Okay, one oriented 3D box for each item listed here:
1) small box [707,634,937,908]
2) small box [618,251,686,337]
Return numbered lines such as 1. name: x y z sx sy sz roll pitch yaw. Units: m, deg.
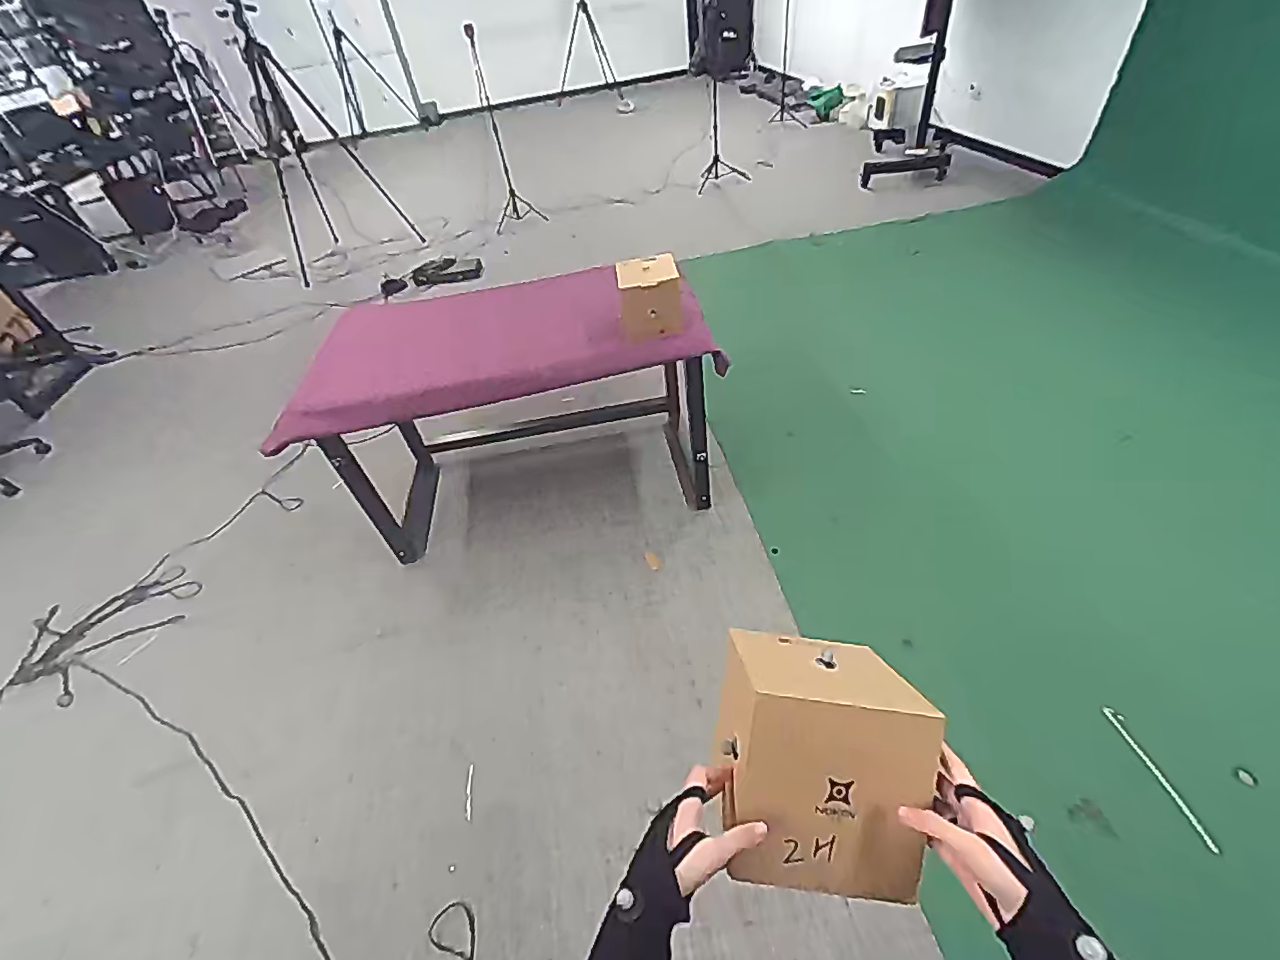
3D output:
1. small box: 0.164 0.272 0.546 0.168 0.179 0.176 8 4 1
2. small box: 0.034 -0.524 1.545 0.168 0.176 0.179 -9 45 2
